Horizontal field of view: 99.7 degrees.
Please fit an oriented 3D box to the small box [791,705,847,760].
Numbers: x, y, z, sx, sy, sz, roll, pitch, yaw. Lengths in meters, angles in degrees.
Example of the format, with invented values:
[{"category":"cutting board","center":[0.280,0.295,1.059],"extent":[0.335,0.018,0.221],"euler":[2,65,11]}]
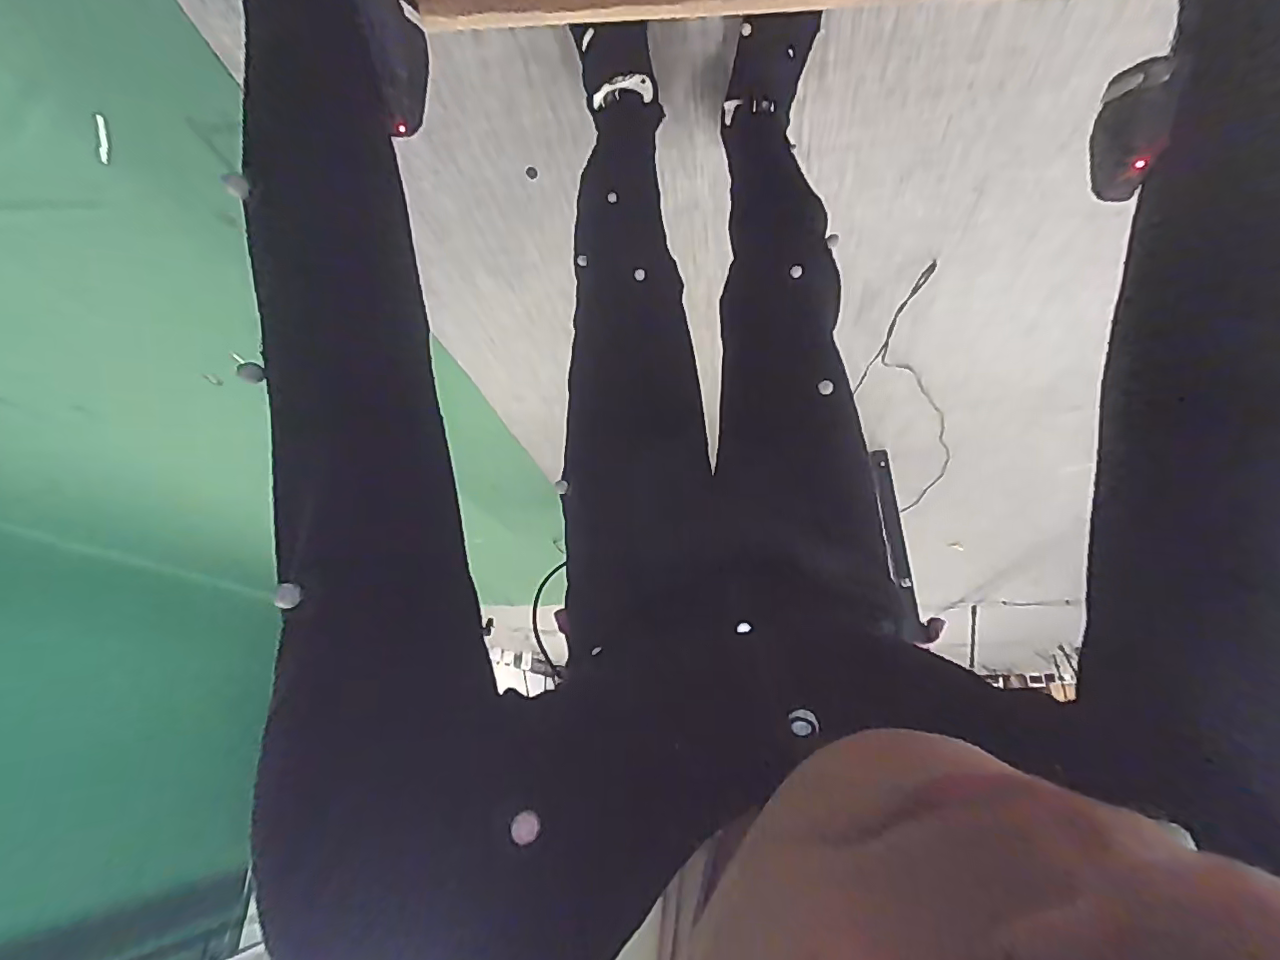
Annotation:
[{"category":"small box","center":[0.632,0.896,1.928],"extent":[0.168,0.176,0.179],"euler":[-3,154,11]}]
